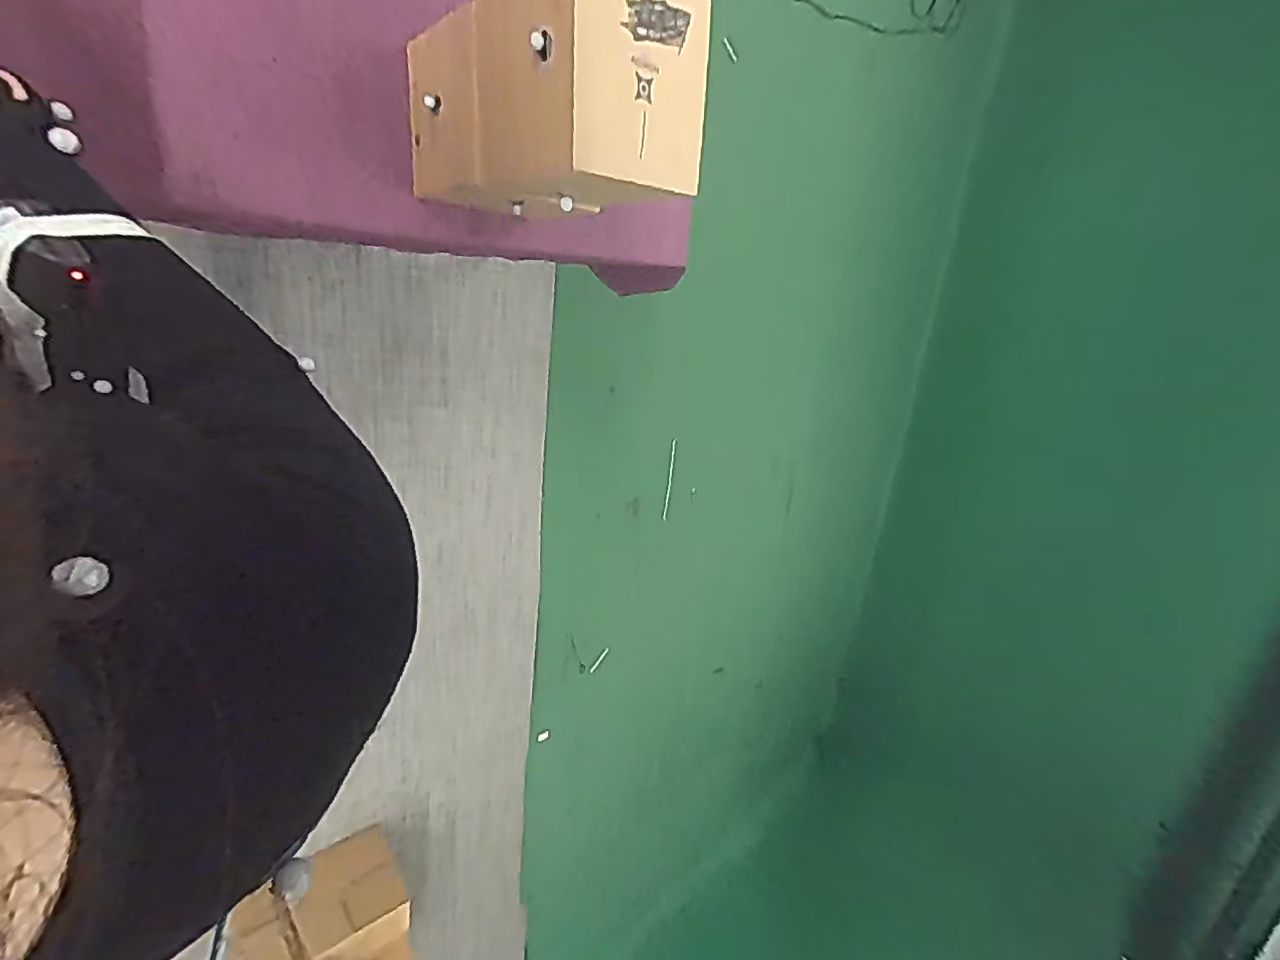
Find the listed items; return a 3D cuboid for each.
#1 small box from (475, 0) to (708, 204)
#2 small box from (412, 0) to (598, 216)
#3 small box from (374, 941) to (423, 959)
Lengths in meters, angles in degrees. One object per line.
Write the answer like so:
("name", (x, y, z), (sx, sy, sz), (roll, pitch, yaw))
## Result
("small box", (-0.053, -0.391, 0.545), (0.168, 0.176, 0.179), (-15, 117, -40))
("small box", (-0.166, -0.428, 0.660), (0.179, 0.176, 0.168), (-12, 115, -42))
("small box", (-0.696, 1.458, 1.518), (0.168, 0.176, 0.179), (-6, 113, -44))
